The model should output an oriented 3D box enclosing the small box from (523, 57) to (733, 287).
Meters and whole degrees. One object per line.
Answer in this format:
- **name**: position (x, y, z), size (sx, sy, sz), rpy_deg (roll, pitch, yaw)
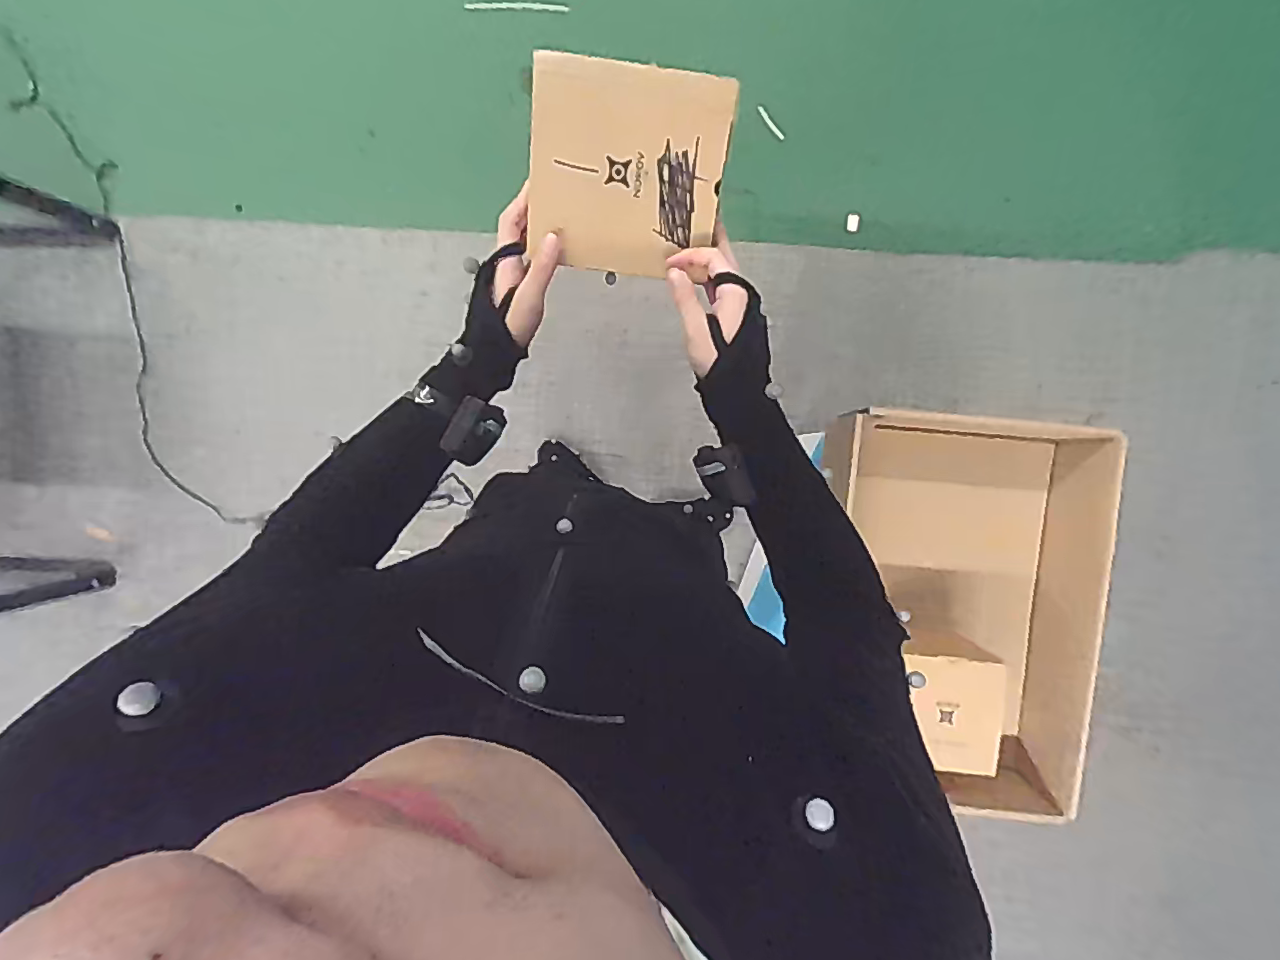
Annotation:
- **small box**: position (-0.015, -0.301, 0.559), size (0.179, 0.176, 0.168), rpy_deg (7, 113, -1)
